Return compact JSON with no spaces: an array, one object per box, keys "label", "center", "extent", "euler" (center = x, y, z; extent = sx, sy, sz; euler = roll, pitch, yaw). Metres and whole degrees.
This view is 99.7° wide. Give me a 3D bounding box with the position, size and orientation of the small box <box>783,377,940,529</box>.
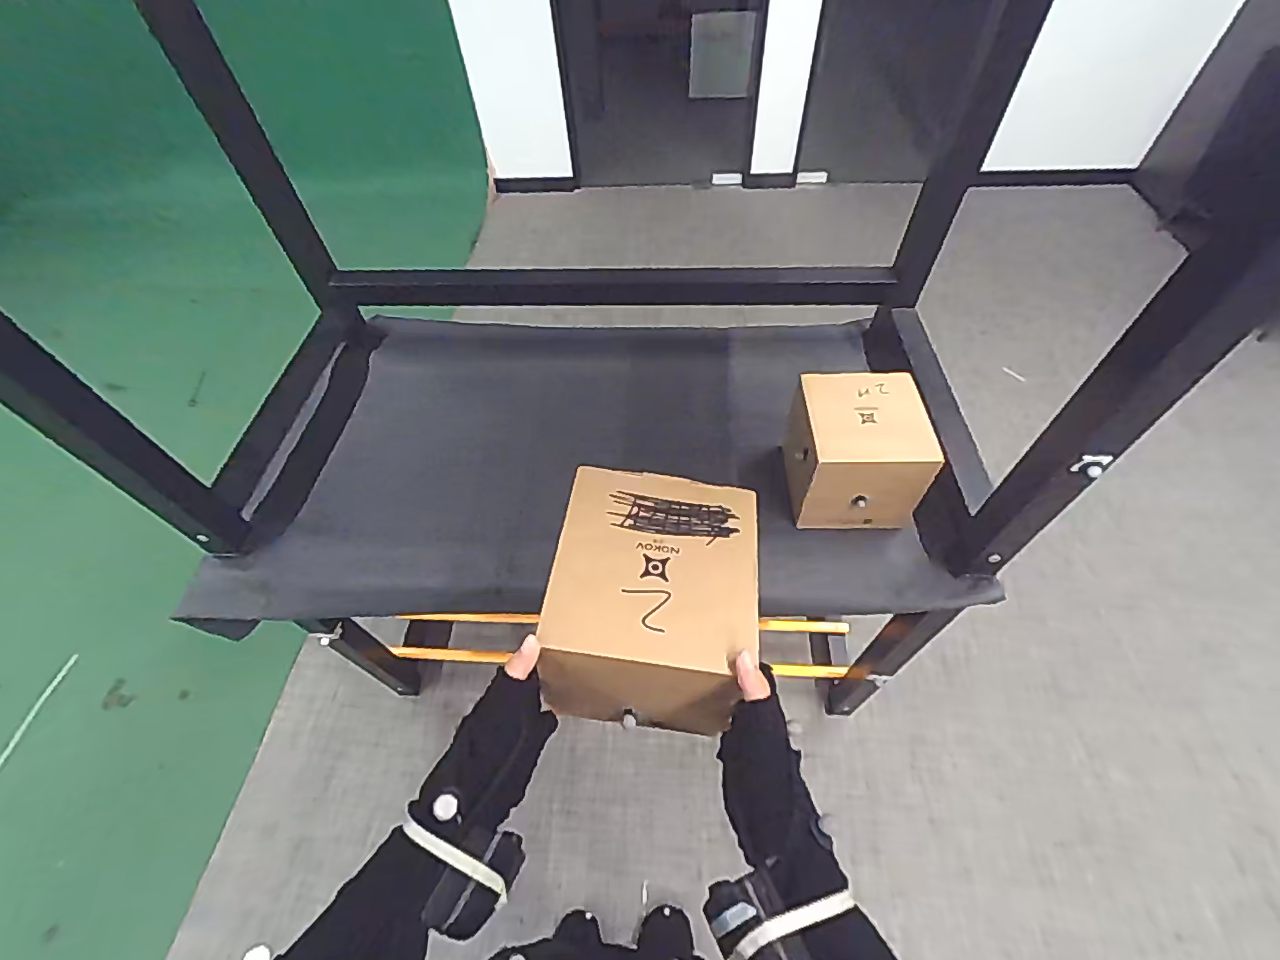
[{"label":"small box","center":[0.323,-0.037,0.831],"extent":[0.168,0.176,0.179],"euler":[0,52,3]}]
